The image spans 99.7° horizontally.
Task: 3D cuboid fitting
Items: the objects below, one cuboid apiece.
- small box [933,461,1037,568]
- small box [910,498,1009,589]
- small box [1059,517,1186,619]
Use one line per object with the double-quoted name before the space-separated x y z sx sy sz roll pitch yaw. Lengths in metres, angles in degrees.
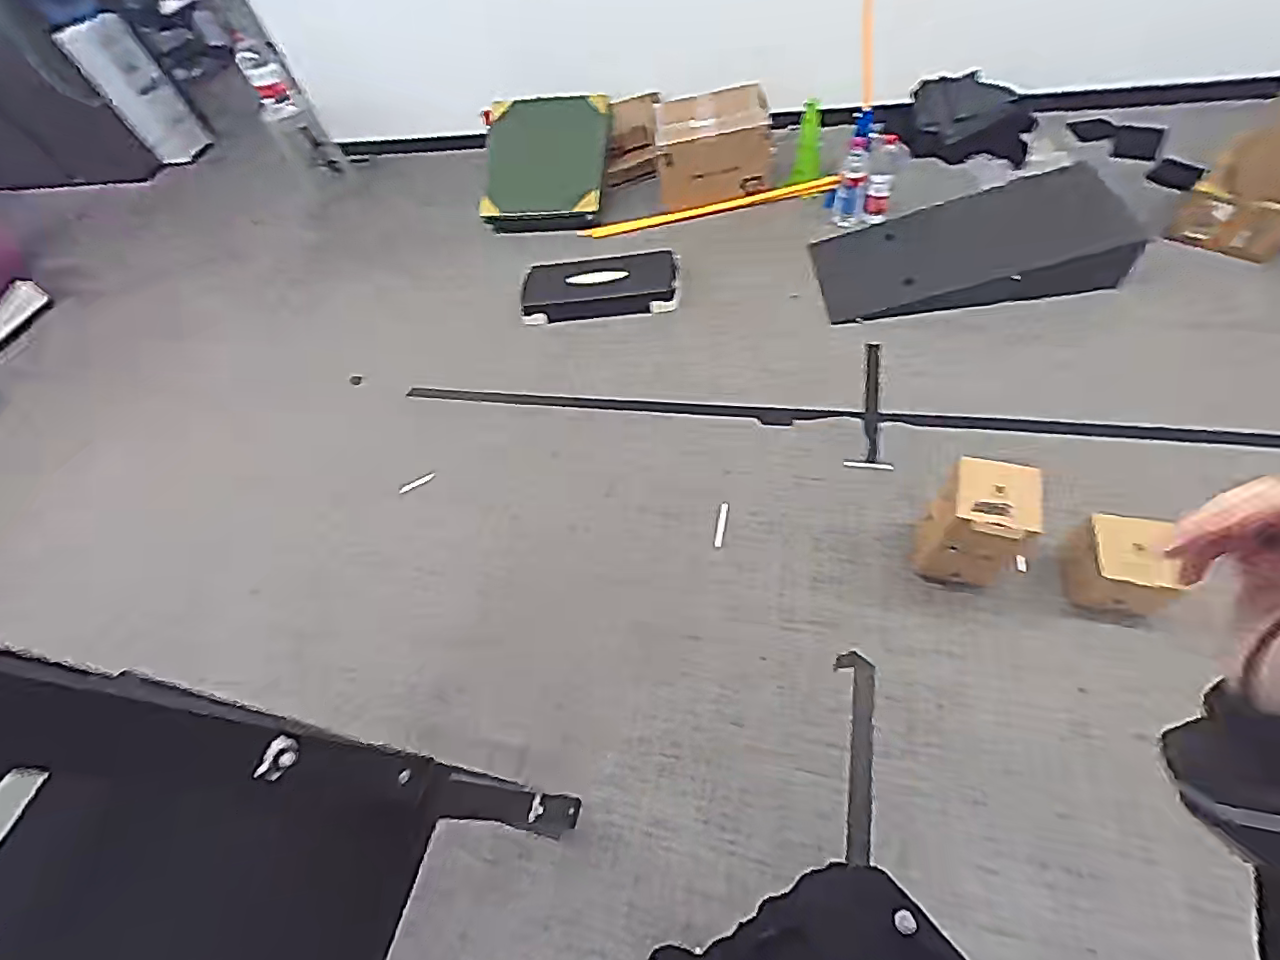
"small box" 0.803 0.084 1.270 0.168 0.176 0.179 12 59 18
"small box" 0.825 0.169 1.410 0.179 0.176 0.168 9 59 15
"small box" 1.157 0.216 1.316 0.168 0.176 0.179 8 59 16
